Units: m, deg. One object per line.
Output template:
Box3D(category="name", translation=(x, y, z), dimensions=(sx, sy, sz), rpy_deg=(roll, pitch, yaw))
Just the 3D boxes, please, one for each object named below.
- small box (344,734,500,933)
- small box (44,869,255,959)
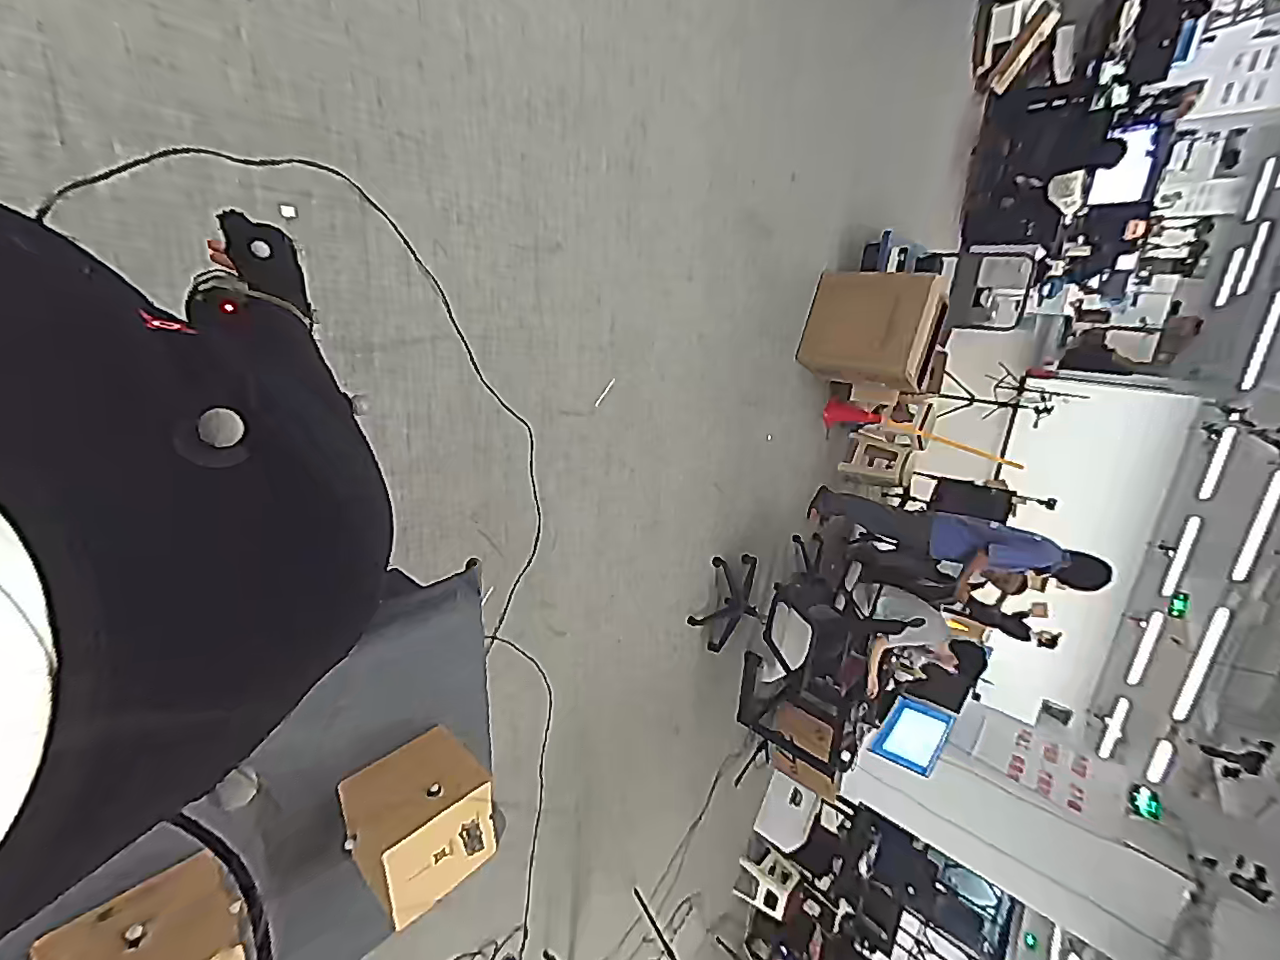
Box3D(category="small box", translation=(-0.354, 0.561, 0.888), dimensions=(0.179, 0.176, 0.168), rpy_deg=(-19, 117, -44))
Box3D(category="small box", translation=(-0.576, 0.619, 0.648), dimensions=(0.168, 0.176, 0.179), rpy_deg=(-16, 115, -46))
